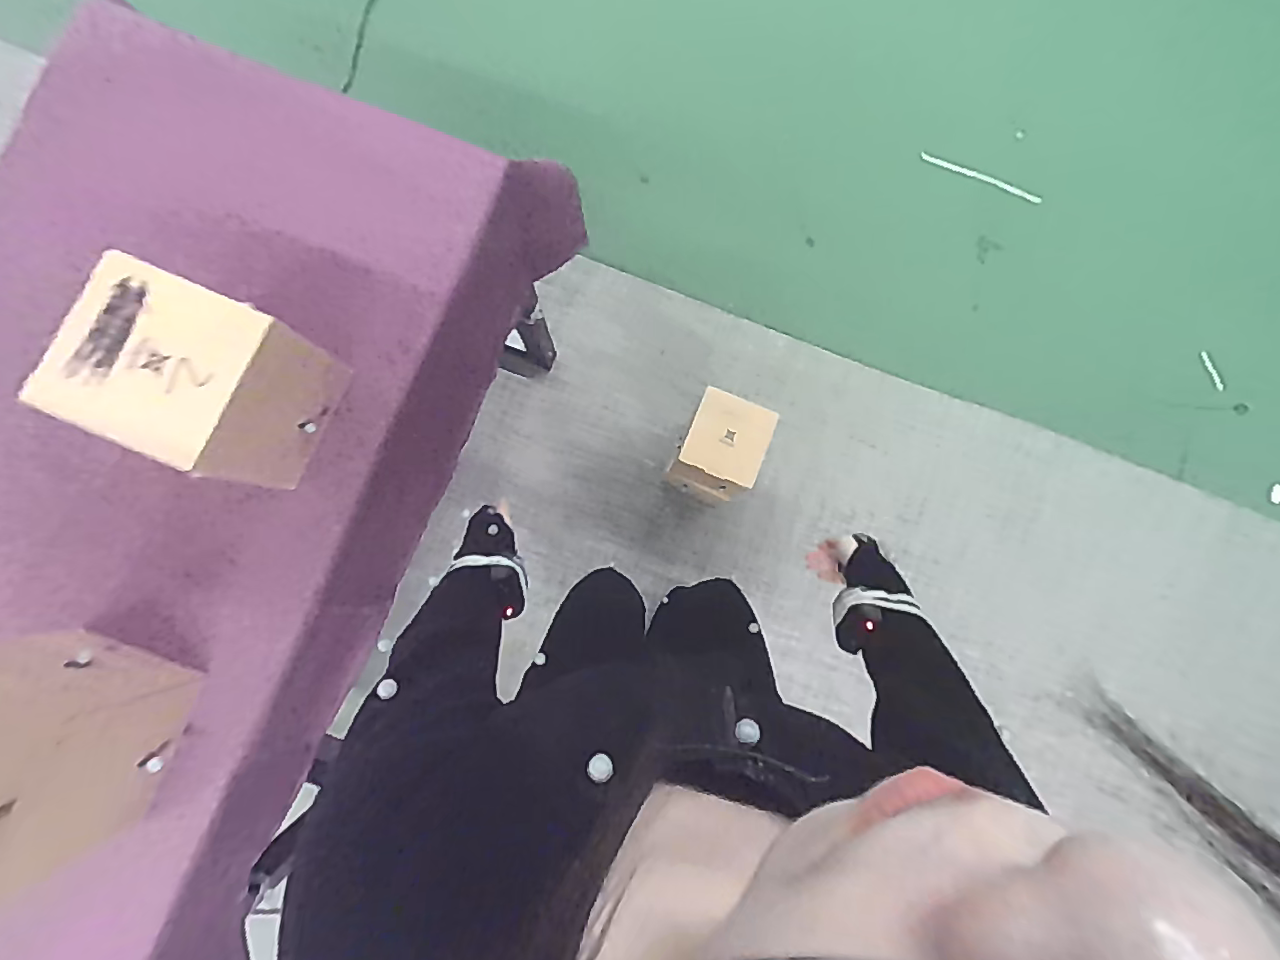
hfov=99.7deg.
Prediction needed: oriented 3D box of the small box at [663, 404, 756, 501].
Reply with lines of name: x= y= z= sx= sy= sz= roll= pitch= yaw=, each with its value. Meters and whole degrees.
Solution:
small box: x=0.165 y=-0.060 z=1.352 sx=0.168 sy=0.176 sz=0.179 roll=25 pitch=82 yaw=0
